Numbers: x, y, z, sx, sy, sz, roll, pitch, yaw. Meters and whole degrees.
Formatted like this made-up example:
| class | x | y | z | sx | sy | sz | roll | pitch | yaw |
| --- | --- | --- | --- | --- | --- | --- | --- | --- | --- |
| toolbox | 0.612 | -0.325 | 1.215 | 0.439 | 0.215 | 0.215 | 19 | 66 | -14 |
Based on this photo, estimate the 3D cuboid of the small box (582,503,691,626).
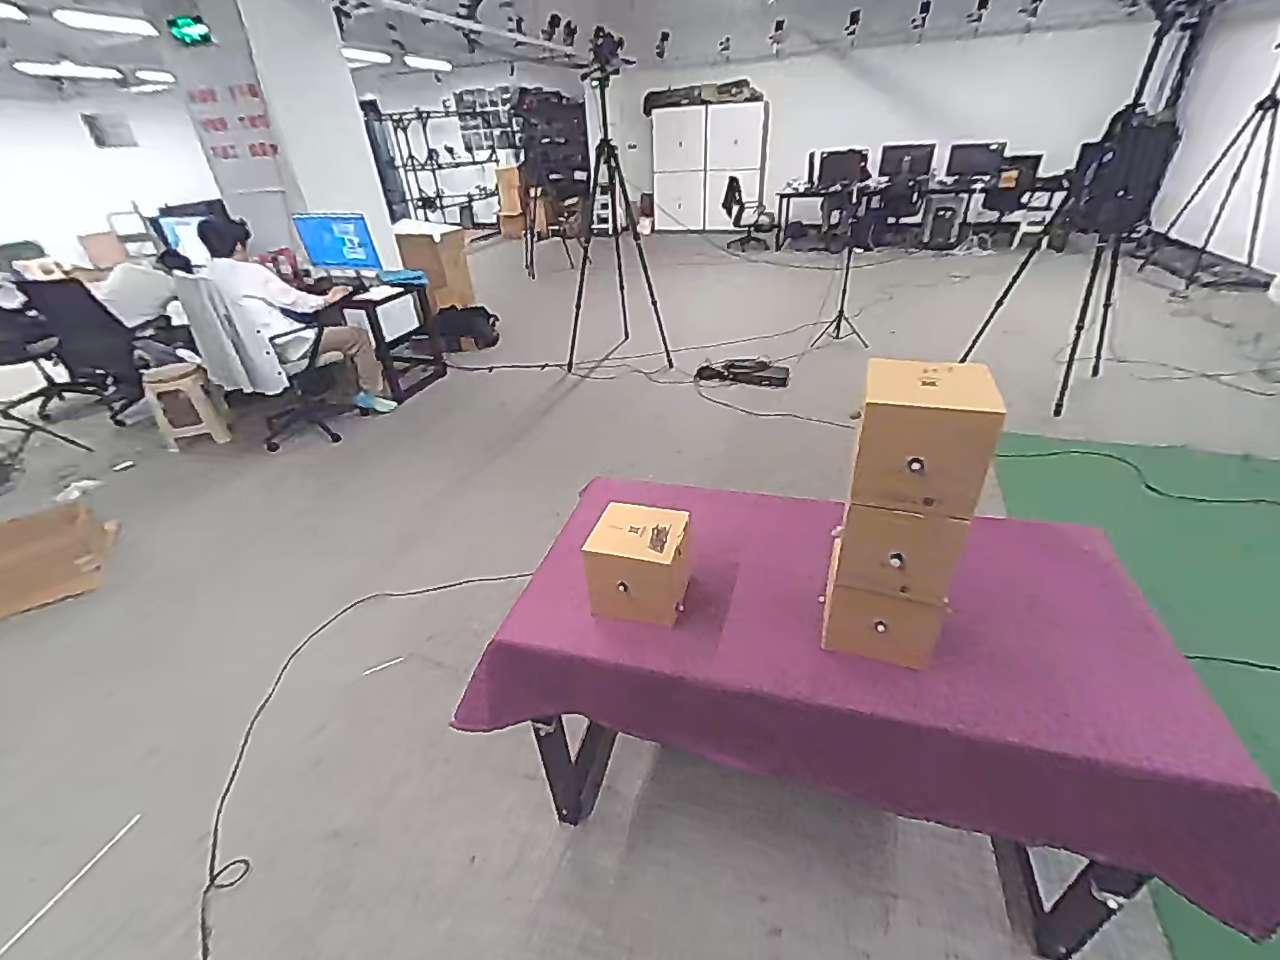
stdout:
| class | x | y | z | sx | sy | sz | roll | pitch | yaw |
| --- | --- | --- | --- | --- | --- | --- | --- | --- | --- |
| small box | 0.002 | 0.169 | 1.091 | 0.179 | 0.176 | 0.168 | 7 | 34 | 16 |

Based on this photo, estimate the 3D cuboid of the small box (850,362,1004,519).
| class | x | y | z | sx | sy | sz | roll | pitch | yaw |
| --- | --- | --- | --- | --- | --- | --- | --- | --- | --- |
| small box | 0.413 | -0.063 | 0.803 | 0.168 | 0.176 | 0.179 | 9 | 34 | 19 |

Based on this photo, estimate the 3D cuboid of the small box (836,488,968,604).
| class | x | y | z | sx | sy | sz | roll | pitch | yaw |
| --- | --- | --- | --- | --- | --- | --- | --- | --- | --- |
| small box | 0.424 | 0.077 | 0.891 | 0.168 | 0.176 | 0.179 | 10 | 35 | 20 |
